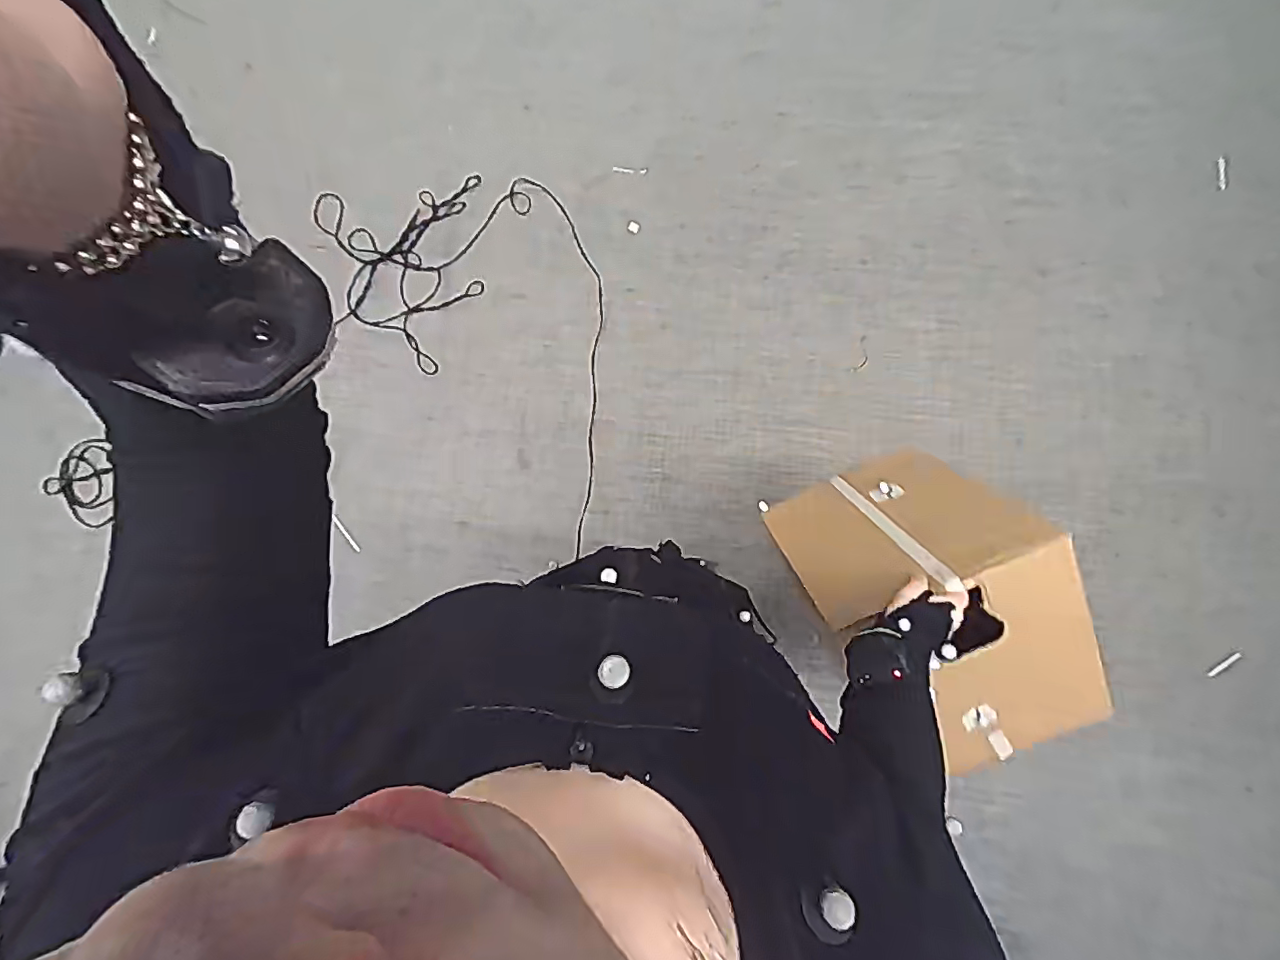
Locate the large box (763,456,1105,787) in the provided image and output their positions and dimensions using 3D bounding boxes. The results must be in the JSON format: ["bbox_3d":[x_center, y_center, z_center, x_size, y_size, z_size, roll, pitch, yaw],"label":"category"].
[{"bbox_3d":[0.449,0.205,0.911,0.320,0.408,0.320,-23,107,7],"label":"large box"}]
